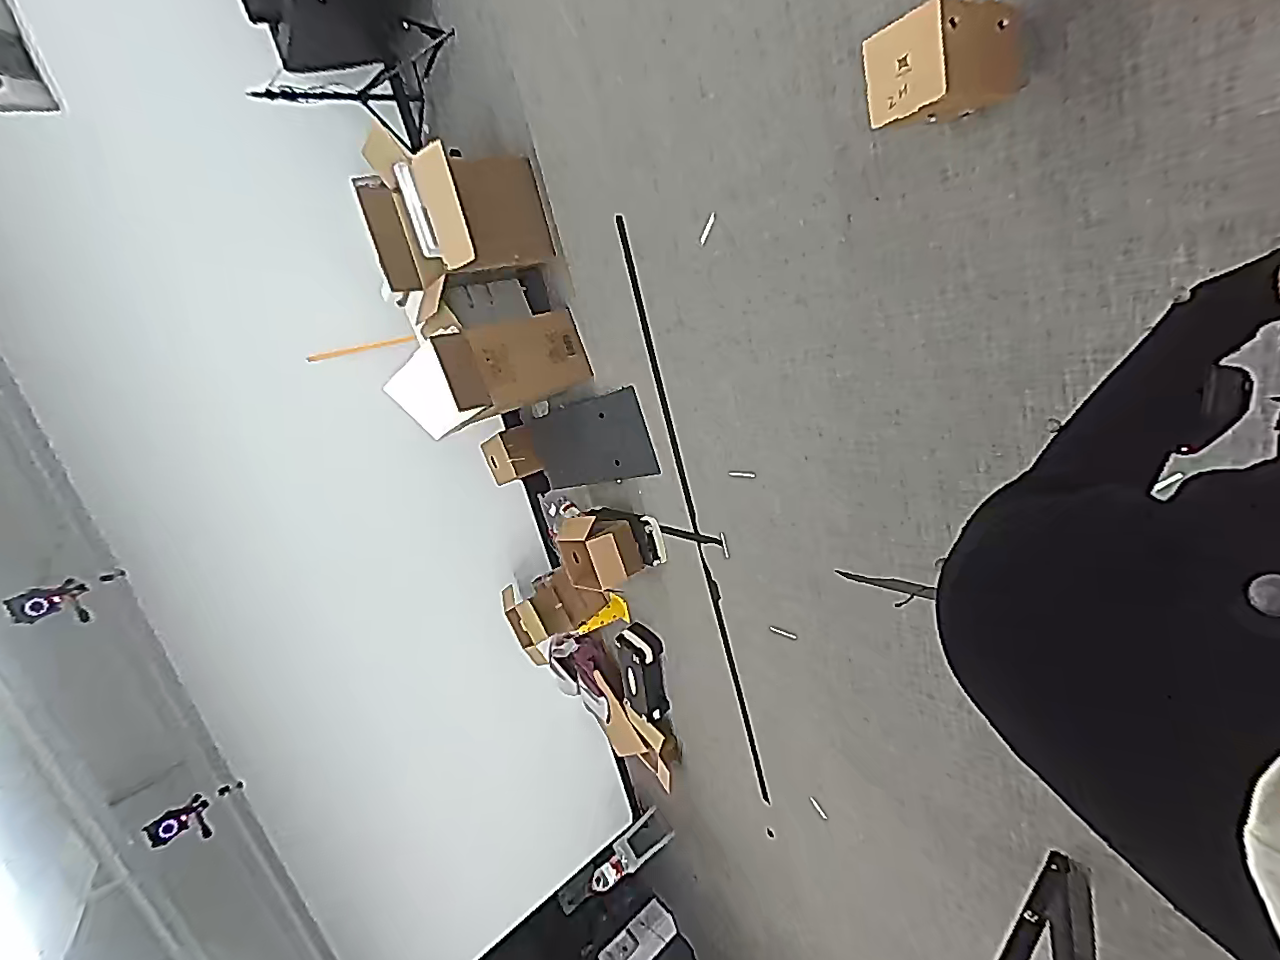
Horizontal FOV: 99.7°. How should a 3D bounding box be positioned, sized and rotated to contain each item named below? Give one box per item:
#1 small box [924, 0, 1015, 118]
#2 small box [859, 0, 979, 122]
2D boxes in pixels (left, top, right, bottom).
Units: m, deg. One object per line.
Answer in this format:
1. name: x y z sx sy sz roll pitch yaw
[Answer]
1. small box: 0.726 -0.949 1.226 0.168 0.176 0.179 10 119 54
2. small box: 0.594 -0.888 1.147 0.168 0.176 0.179 10 119 54
